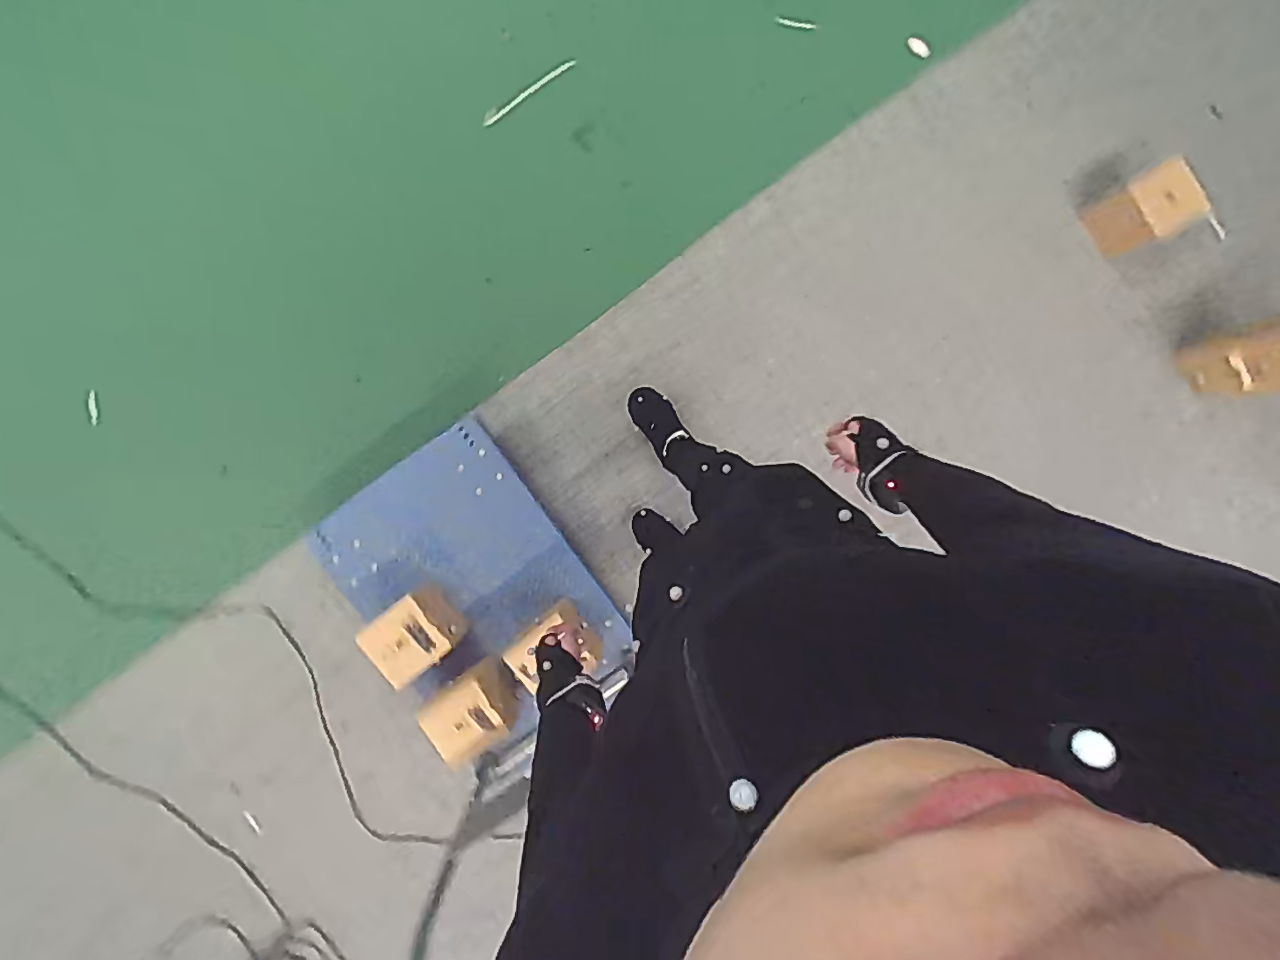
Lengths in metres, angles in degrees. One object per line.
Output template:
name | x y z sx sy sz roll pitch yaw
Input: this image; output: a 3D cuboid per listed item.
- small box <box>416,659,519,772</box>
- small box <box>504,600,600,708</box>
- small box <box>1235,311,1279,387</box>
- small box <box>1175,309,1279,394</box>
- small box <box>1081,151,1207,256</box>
small box | -0.427 0.590 1.382 0.179 0.176 0.168 -34 91 1
small box | -0.216 0.433 1.380 0.179 0.176 0.168 -39 91 0
small box | 1.729 -0.357 1.395 0.179 0.176 0.168 -31 92 1
small box | 1.722 -0.366 1.555 0.179 0.176 0.168 -25 89 1
small box | 1.427 -0.783 1.546 0.168 0.176 0.179 -32 92 1
